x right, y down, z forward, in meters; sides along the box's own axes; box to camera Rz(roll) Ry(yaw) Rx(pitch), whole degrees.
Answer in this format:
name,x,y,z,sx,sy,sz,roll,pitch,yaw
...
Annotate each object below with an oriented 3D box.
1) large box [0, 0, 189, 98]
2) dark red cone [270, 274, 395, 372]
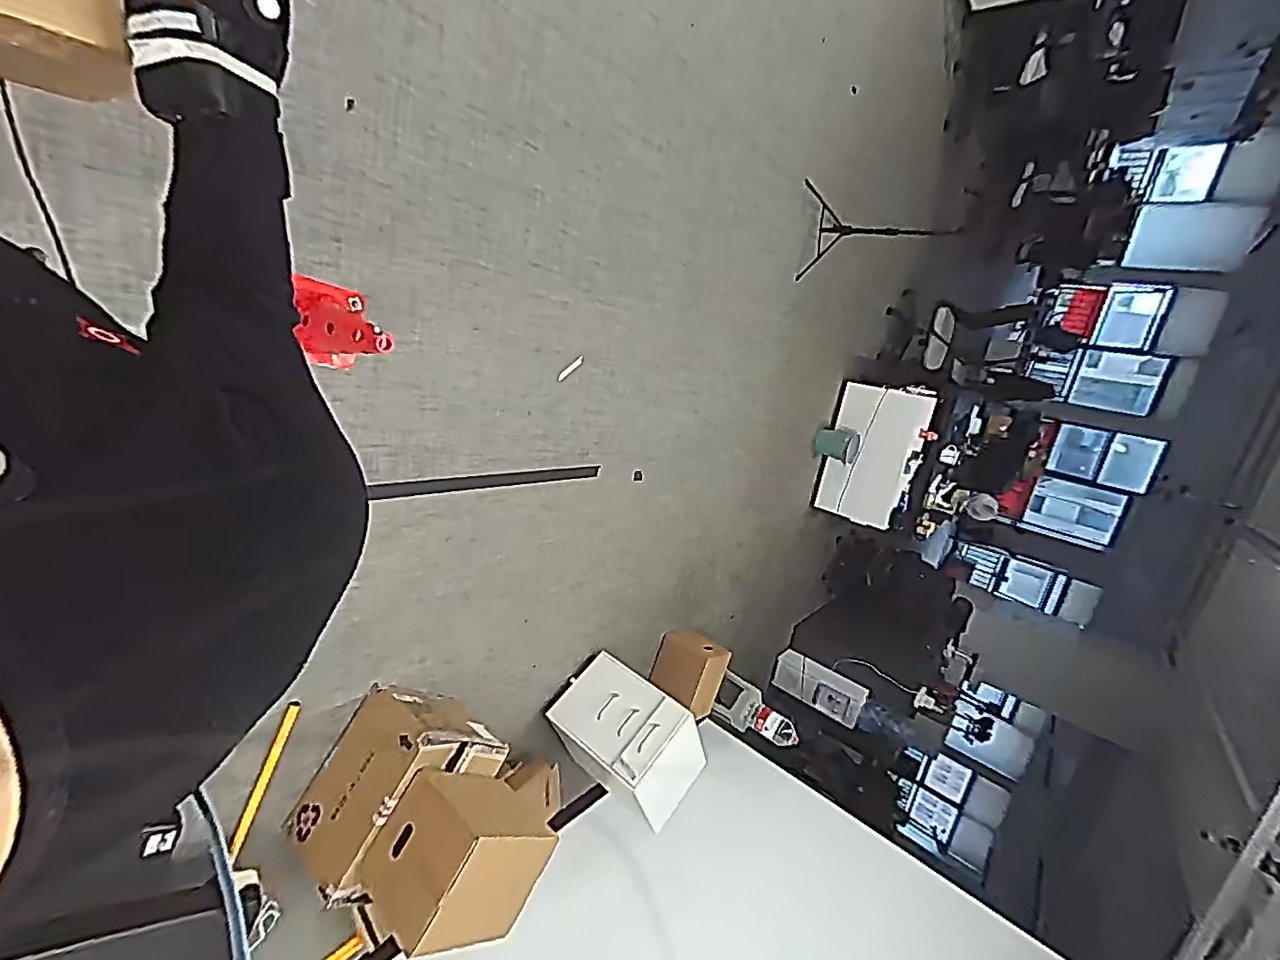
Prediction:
name,x,y,z,sx,sy,sz,roll,pitch,yaw
large box,-0.536,-0.446,0.264,0.408,0.320,0.320,-15,121,-52
dark red cone,-0.652,-0.322,1.208,0.201,0.394,0.202,3,105,-51
